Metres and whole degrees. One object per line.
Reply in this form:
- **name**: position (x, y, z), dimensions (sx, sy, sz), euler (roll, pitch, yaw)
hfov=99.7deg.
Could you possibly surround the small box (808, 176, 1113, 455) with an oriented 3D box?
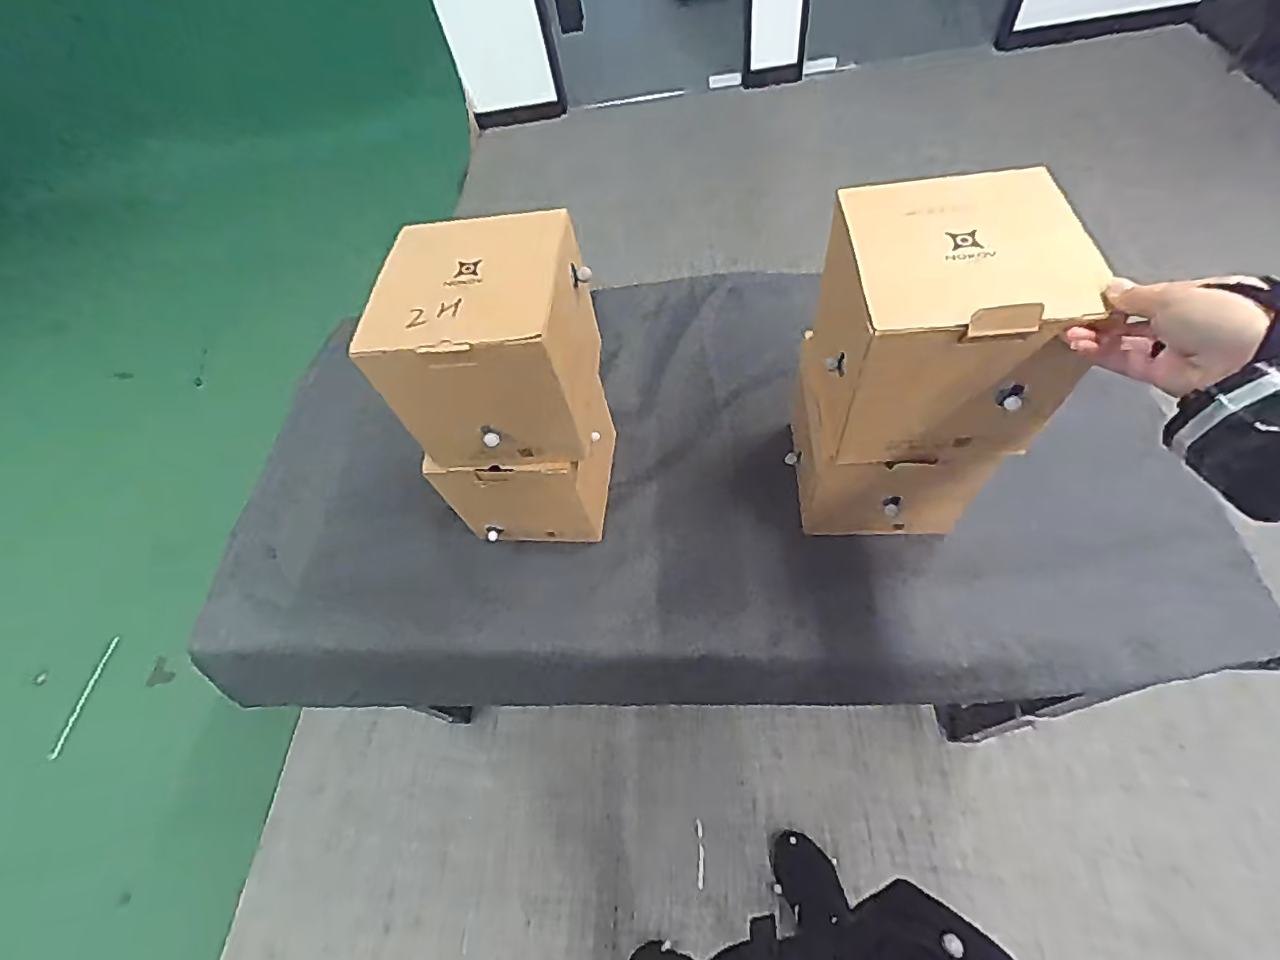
- **small box**: position (0.251, -0.133, 0.481), dimensions (0.168, 0.176, 0.179), euler (-2, 56, 8)

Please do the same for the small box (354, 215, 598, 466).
- **small box**: position (-0.141, -0.133, 0.543), dimensions (0.168, 0.176, 0.179), euler (-3, 57, 8)

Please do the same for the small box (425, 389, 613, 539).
- **small box**: position (-0.134, -0.037, 0.679), dimensions (0.168, 0.176, 0.179), euler (0, 57, 9)

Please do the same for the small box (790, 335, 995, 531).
- **small box**: position (0.268, -0.050, 0.621), dimensions (0.168, 0.176, 0.179), euler (-1, 58, 9)
